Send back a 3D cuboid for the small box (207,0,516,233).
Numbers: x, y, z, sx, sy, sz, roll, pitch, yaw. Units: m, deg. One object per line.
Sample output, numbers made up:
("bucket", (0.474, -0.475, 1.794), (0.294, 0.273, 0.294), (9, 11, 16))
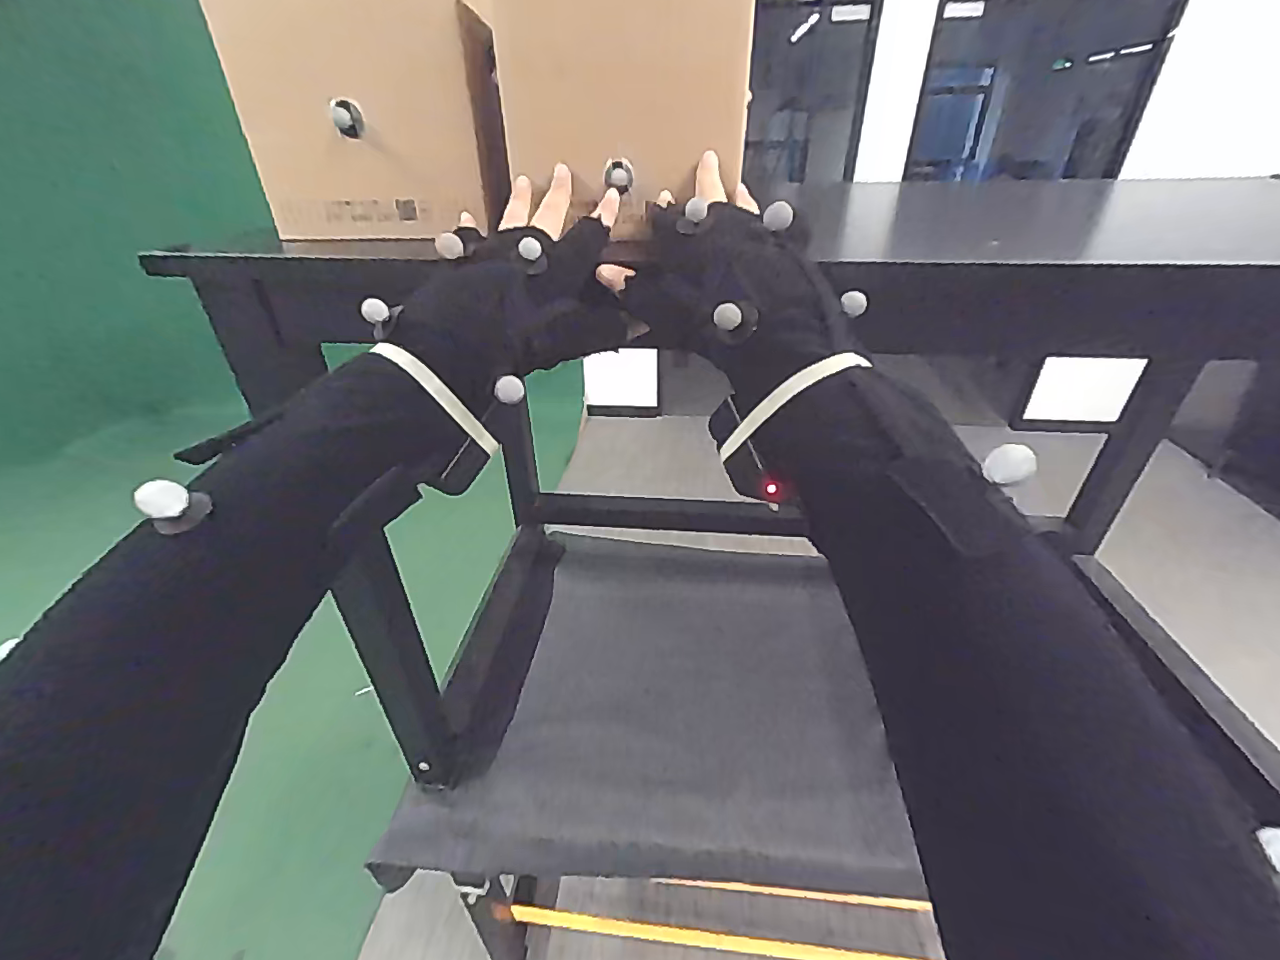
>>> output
("small box", (-0.209, -0.314, 0.467), (0.168, 0.176, 0.179), (0, 32, -1))
